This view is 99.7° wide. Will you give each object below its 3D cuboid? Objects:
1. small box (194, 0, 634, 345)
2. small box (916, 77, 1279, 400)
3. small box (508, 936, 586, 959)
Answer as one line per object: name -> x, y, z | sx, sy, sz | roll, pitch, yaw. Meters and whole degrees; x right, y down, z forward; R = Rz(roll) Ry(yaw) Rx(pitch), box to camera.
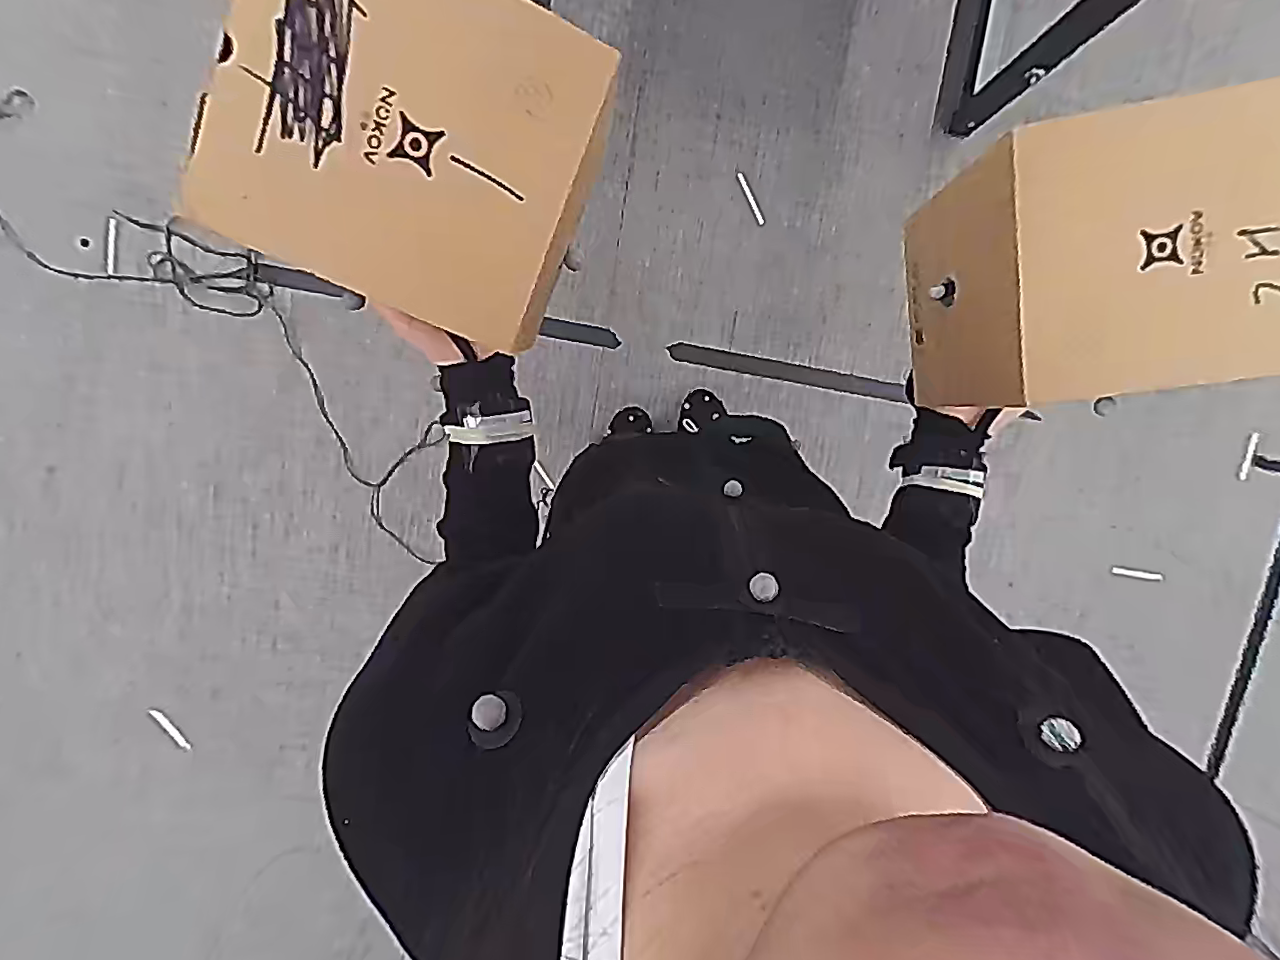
small box -> -0.123, -0.197, 0.349 | 0.179, 0.176, 0.168 | 21, 102, -13
small box -> 0.322, -0.150, 0.397 | 0.179, 0.176, 0.168 | -7, 98, 6
small box -> -0.207, 1.081, 1.093 | 0.168, 0.176, 0.179 | 14, 97, -4
